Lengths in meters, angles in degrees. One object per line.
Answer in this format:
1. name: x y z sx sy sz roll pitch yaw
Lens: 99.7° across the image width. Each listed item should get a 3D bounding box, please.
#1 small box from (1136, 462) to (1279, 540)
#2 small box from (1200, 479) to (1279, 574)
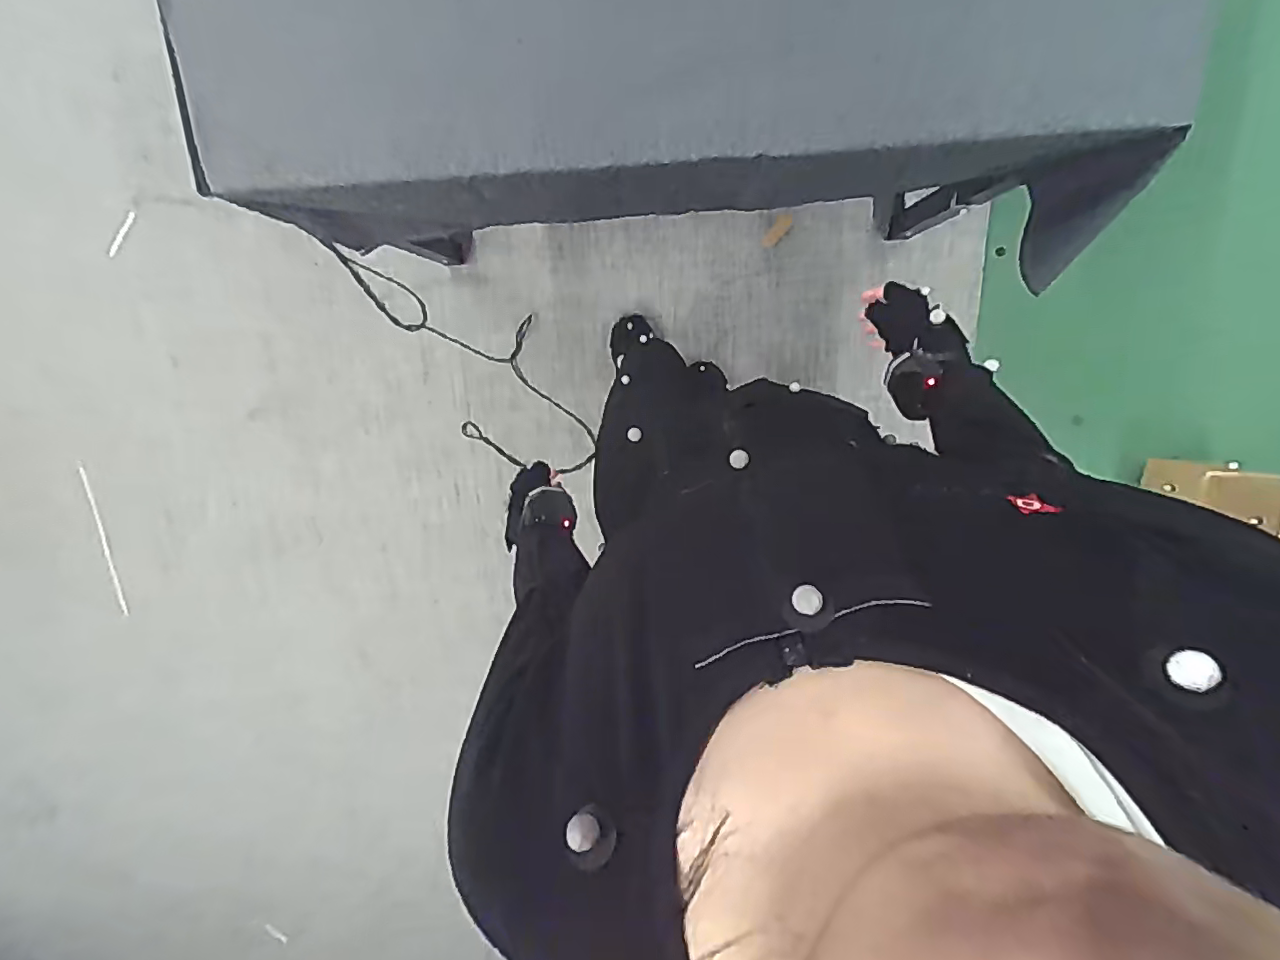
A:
1. small box: 1.396 0.053 1.339 0.179 0.176 0.168 3 103 2
2. small box: 1.397 0.098 1.180 0.168 0.176 0.179 3 103 3
